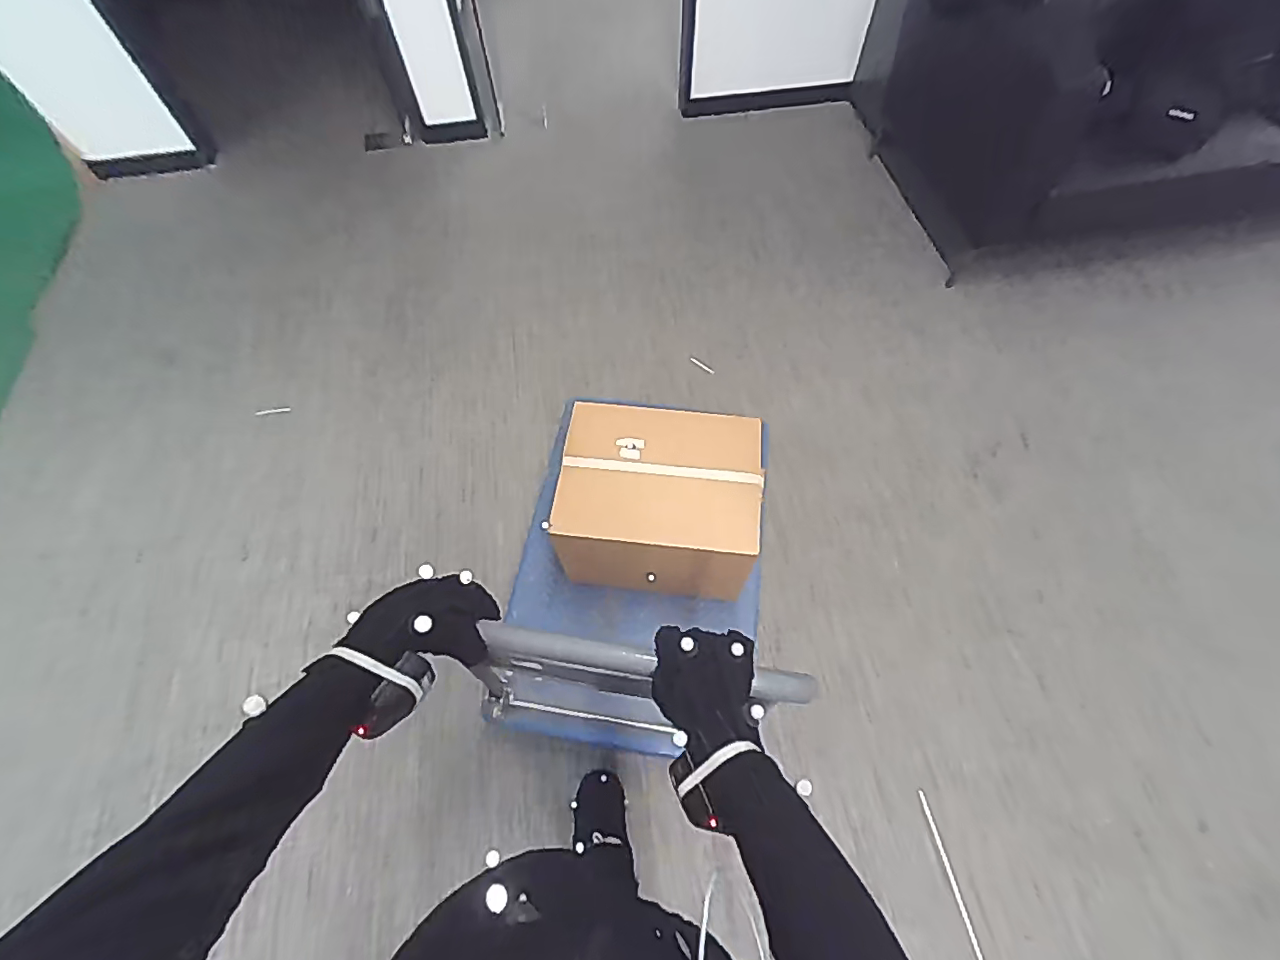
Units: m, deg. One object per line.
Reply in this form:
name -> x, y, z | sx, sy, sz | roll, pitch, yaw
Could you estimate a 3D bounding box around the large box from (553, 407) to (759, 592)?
large box -> 0.047, 0.056, 1.235 | 0.408, 0.320, 0.320 | 5, 61, 4
